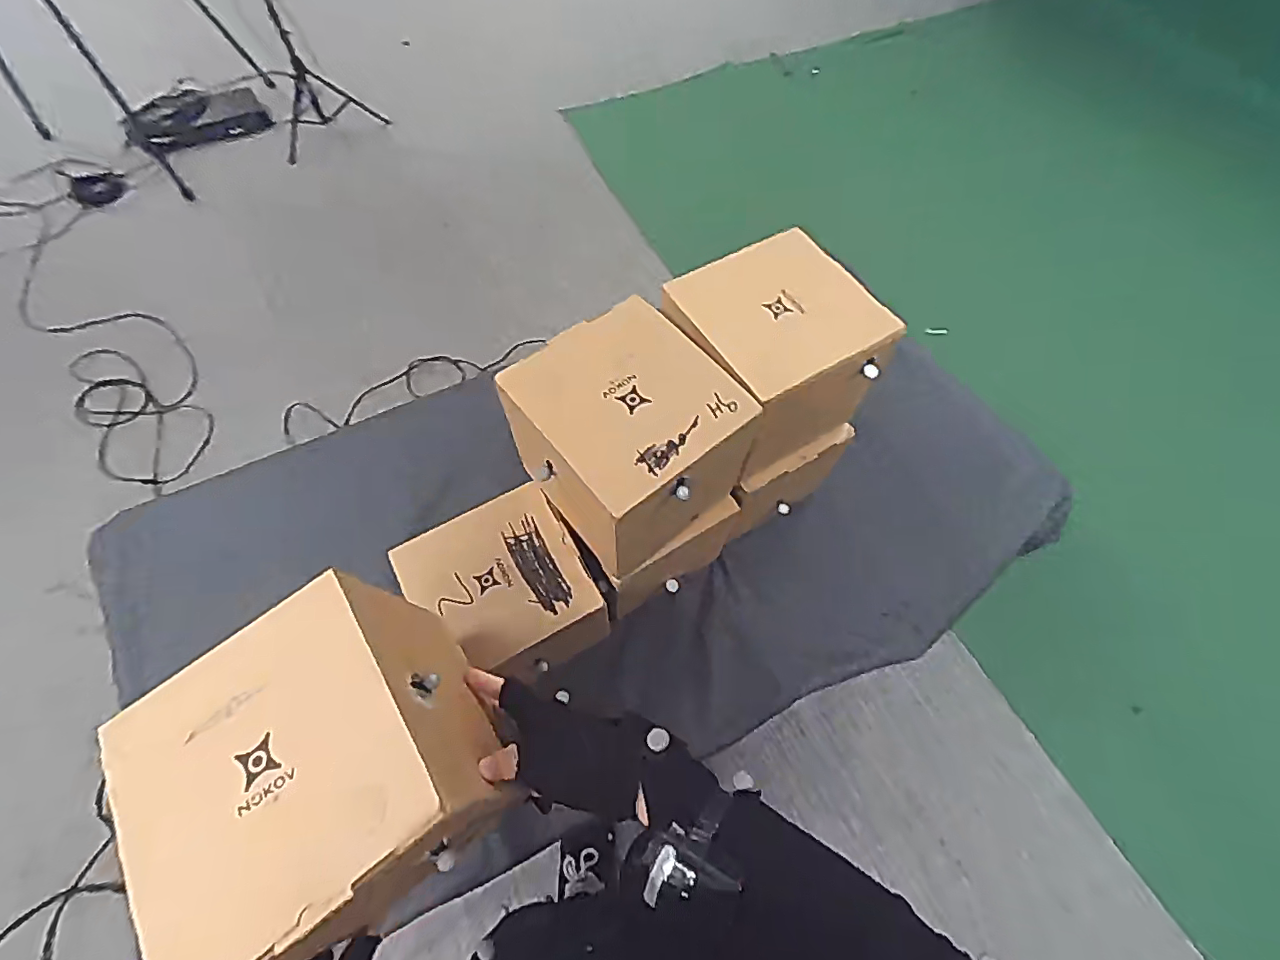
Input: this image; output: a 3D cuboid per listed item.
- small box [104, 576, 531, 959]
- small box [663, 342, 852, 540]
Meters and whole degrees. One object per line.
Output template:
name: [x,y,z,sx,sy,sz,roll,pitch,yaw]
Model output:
small box: [-0.201,0.199,0.380,0.168,0.176,0.179,-35,66,-10]
small box: [0.142,-0.047,0.736,0.168,0.176,0.179,-28,67,-14]
